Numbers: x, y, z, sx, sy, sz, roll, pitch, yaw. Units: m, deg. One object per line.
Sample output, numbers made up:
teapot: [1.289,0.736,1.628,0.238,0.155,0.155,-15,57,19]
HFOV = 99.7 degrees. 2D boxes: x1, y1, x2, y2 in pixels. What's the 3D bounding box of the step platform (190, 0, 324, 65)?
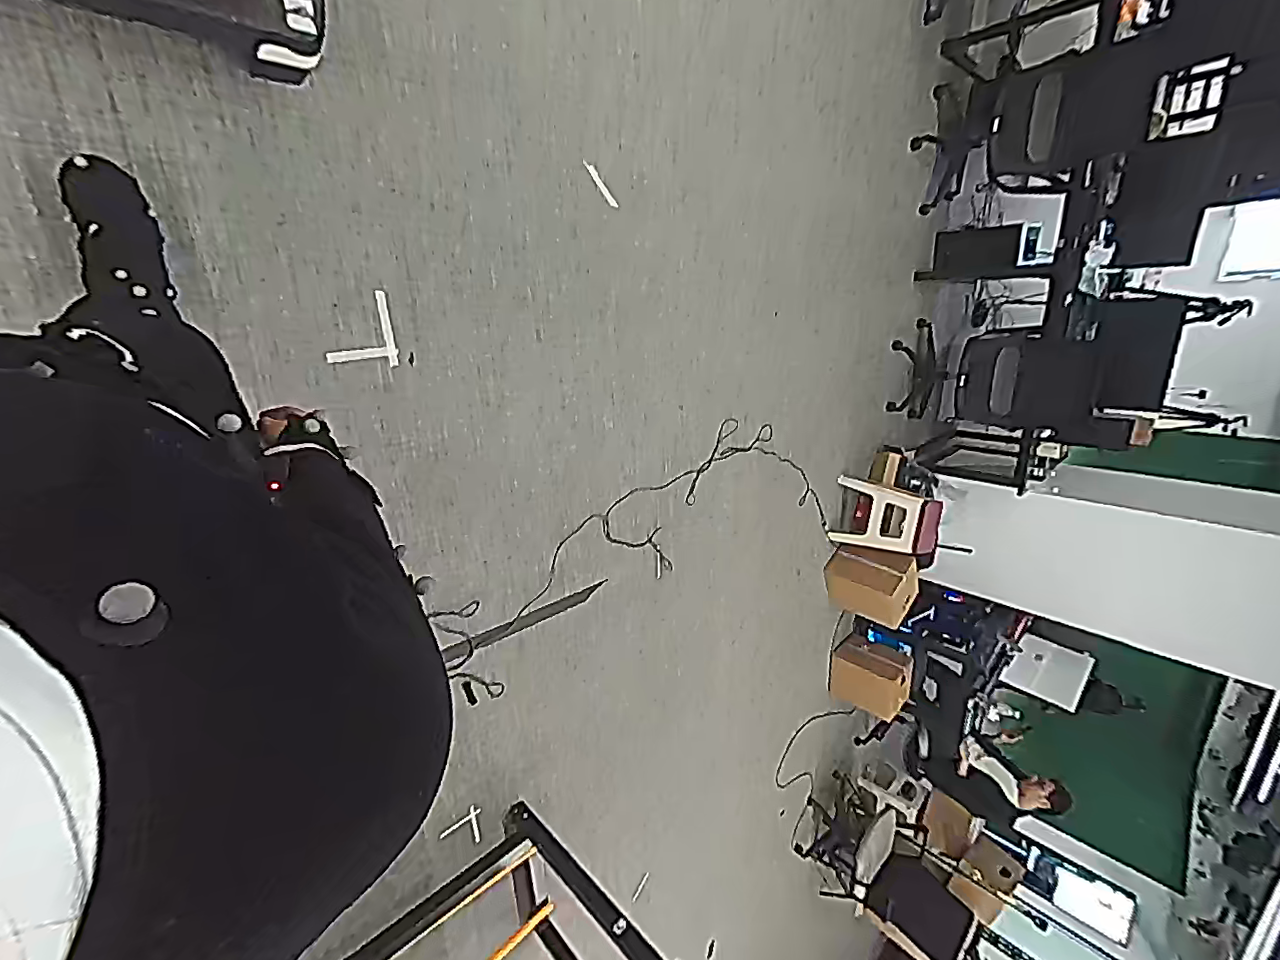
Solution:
step platform: [-0.843,-0.867,0.765,0.684,0.204,0.286,-17,113,-40]
